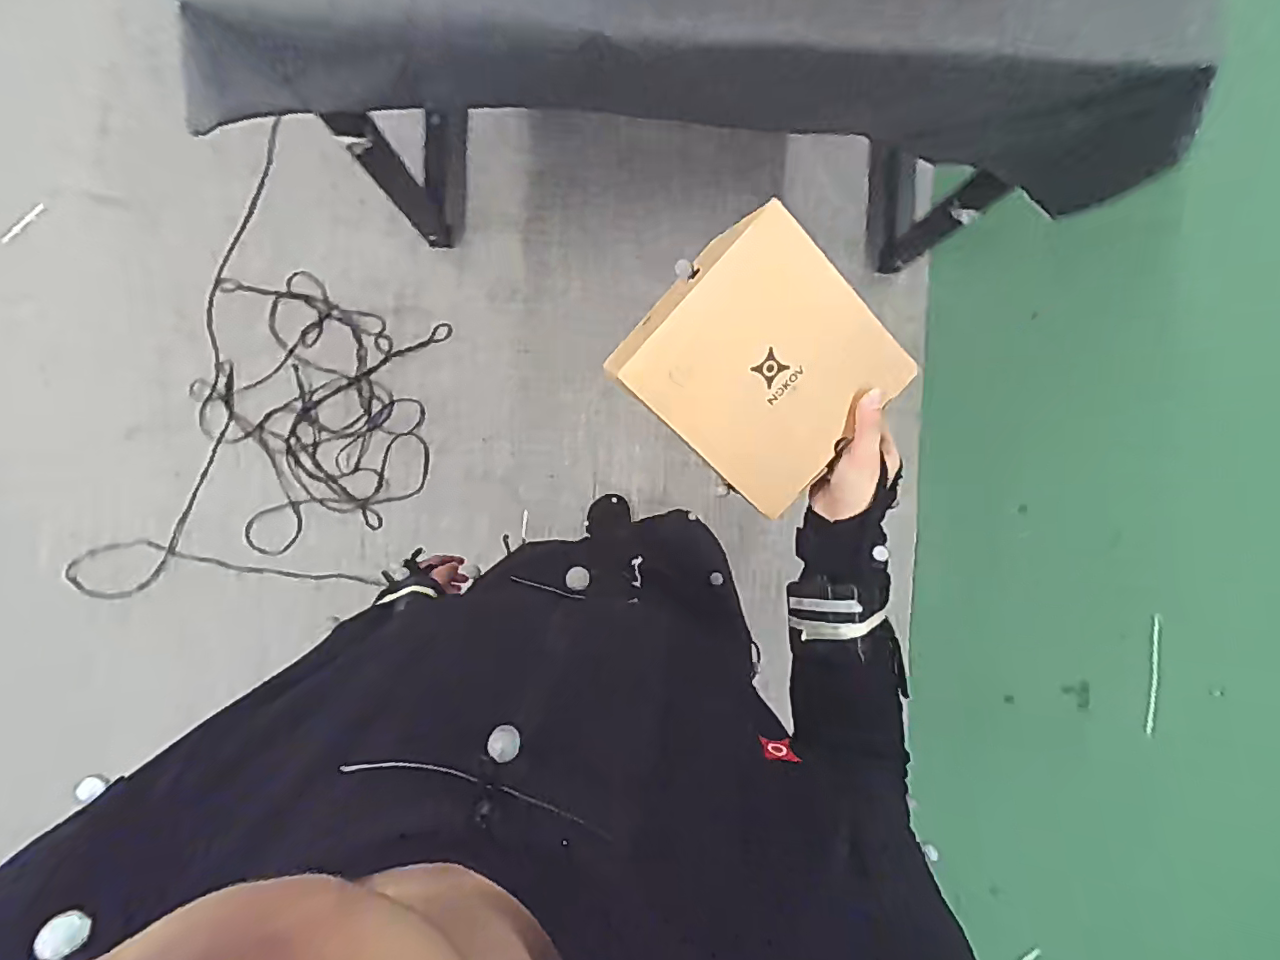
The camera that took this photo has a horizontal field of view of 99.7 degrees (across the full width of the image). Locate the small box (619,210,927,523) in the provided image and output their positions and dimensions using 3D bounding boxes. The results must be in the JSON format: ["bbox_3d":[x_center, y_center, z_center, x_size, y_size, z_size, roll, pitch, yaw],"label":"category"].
[{"bbox_3d":[0.098,-0.096,0.481,0.179,0.176,0.168,42,96,-16],"label":"small box"}]
